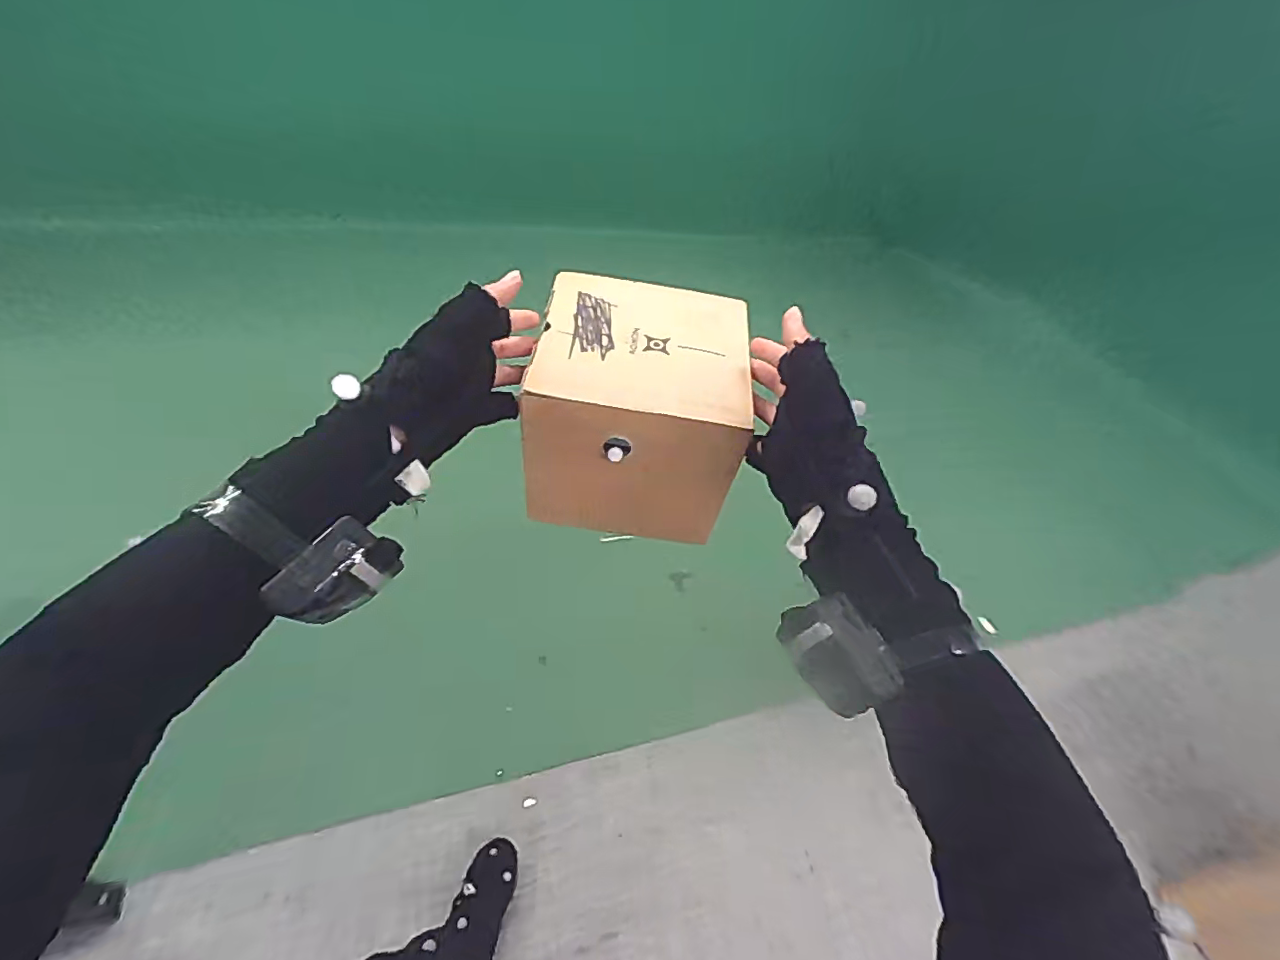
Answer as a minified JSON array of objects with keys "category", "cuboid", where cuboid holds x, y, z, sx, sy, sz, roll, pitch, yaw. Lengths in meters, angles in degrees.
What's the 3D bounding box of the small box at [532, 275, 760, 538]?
[{"category":"small box","cuboid":[0.002,-0.062,0.512,0.179,0.176,0.168,10,52,-3]}]
